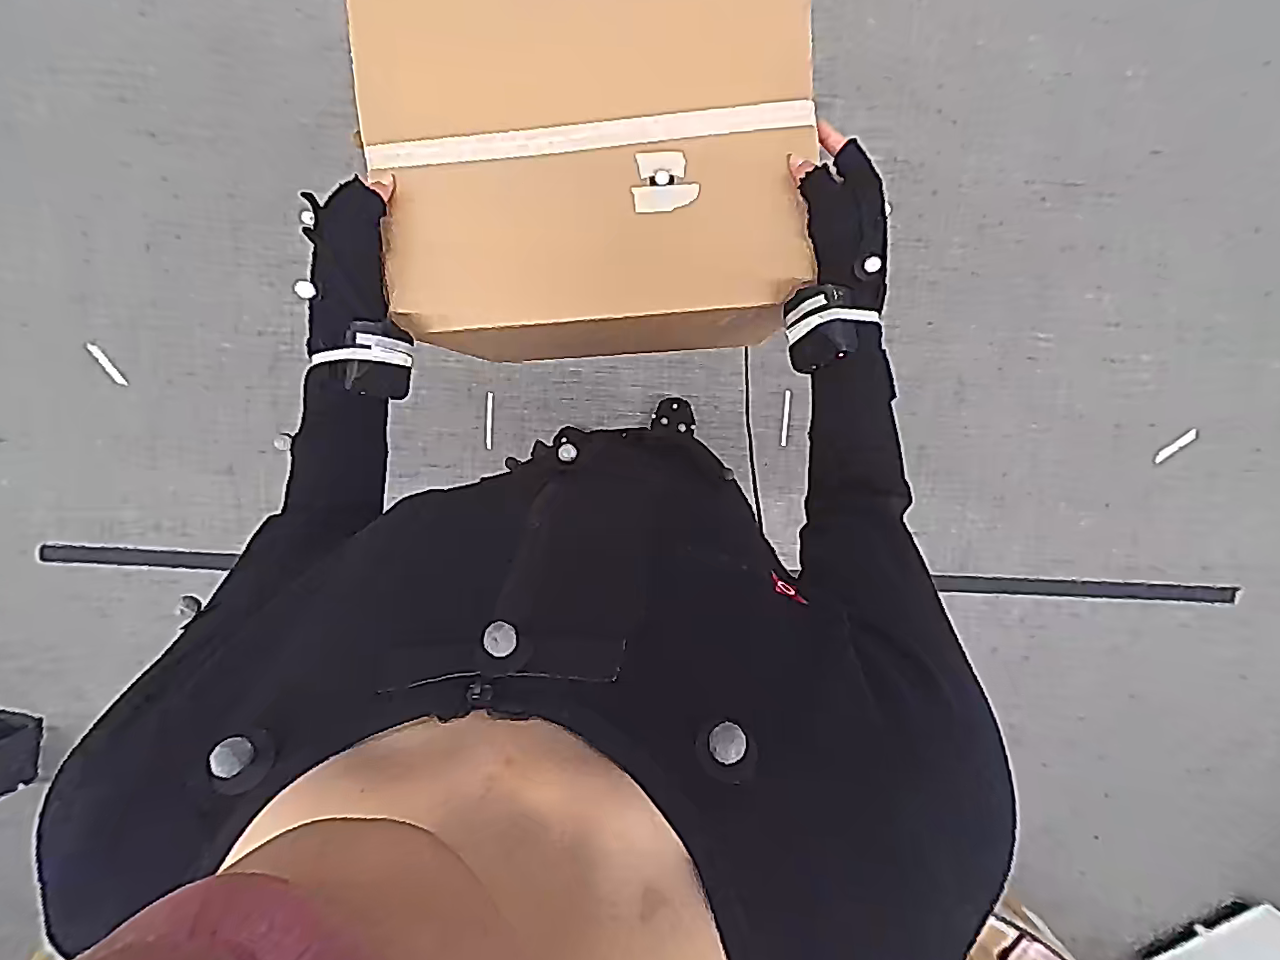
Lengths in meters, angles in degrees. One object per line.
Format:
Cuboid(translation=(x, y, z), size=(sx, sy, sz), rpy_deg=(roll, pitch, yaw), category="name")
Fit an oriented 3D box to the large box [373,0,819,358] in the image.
Cuboid(translation=(-0.034, -0.333, 0.651), size=(0.408, 0.320, 0.320), rpy_deg=(-3, 98, 2), category="large box")
